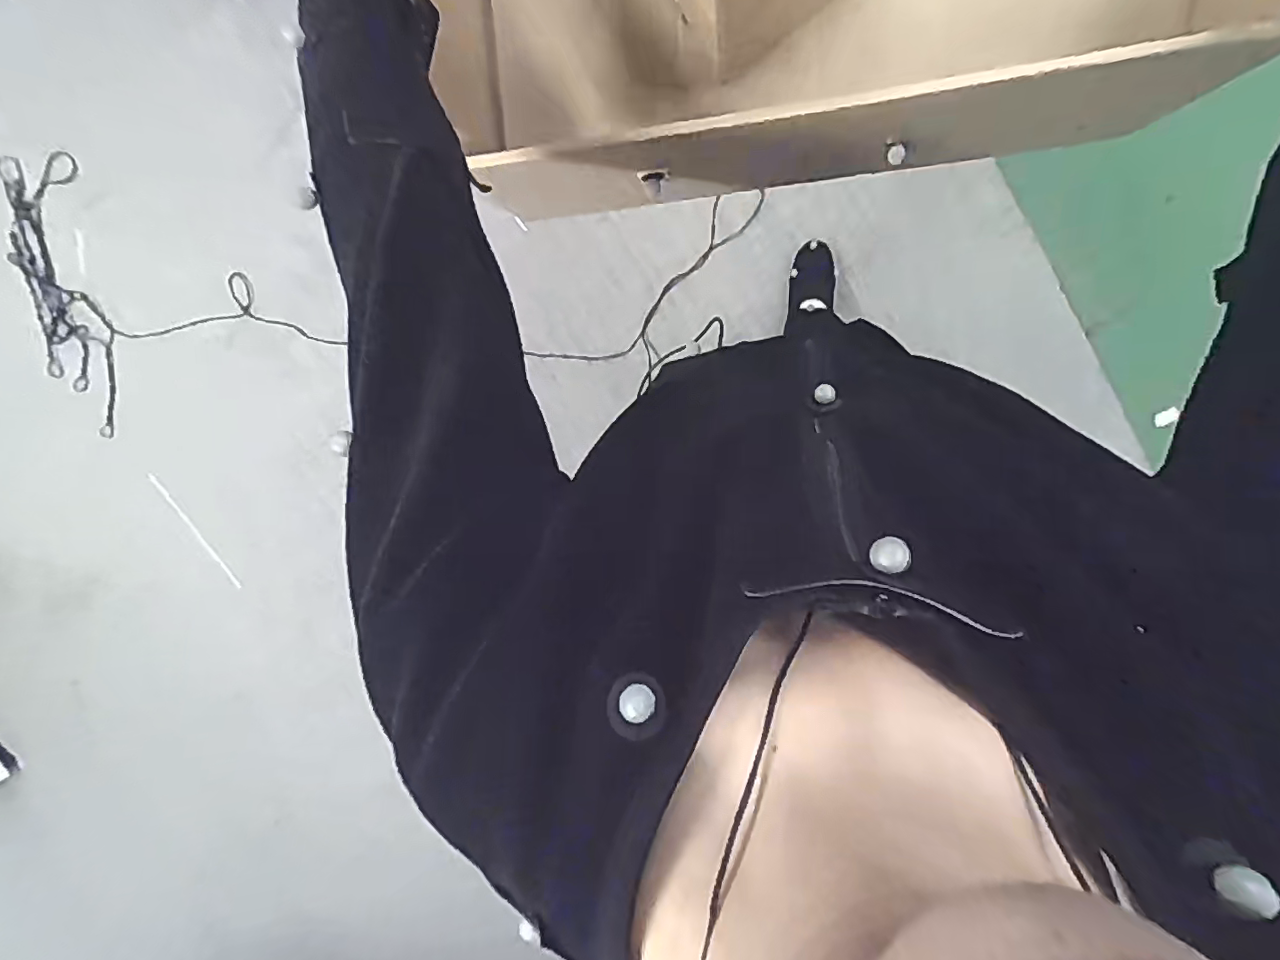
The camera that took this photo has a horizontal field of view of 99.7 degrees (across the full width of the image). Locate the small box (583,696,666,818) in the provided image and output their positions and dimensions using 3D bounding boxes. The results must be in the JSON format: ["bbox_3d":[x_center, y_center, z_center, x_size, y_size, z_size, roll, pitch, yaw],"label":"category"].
[{"bbox_3d":[-0.032,0.642,1.267,0.168,0.176,0.179,4,104,10],"label":"small box"}]
